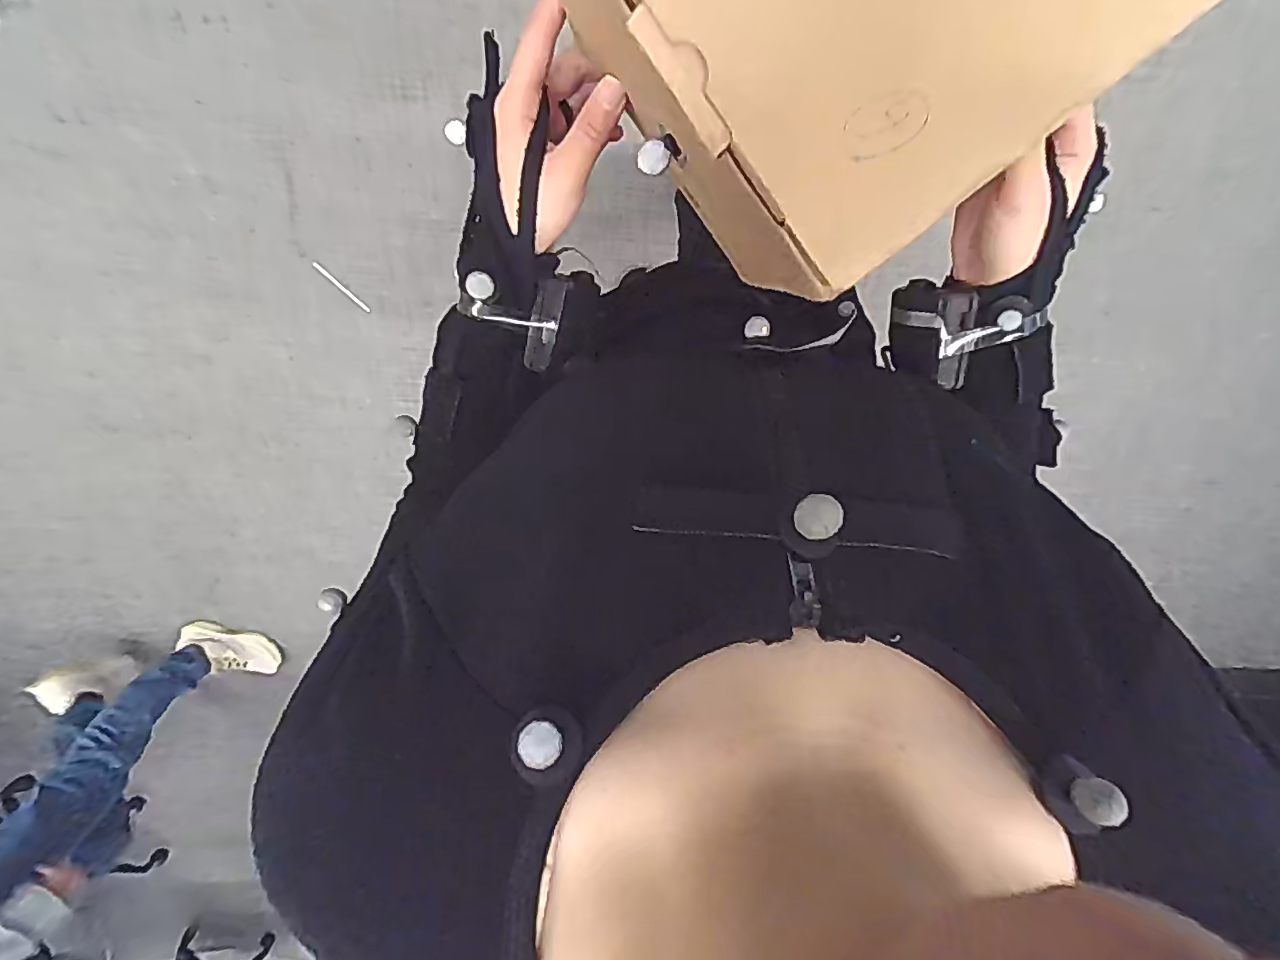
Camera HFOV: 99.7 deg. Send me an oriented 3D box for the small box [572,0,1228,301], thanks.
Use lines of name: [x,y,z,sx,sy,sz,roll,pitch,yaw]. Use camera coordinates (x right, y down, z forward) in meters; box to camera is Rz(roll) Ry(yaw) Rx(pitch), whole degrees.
small box: [0.080,-0.196,0.217,0.179,0.176,0.168,-37,106,15]
